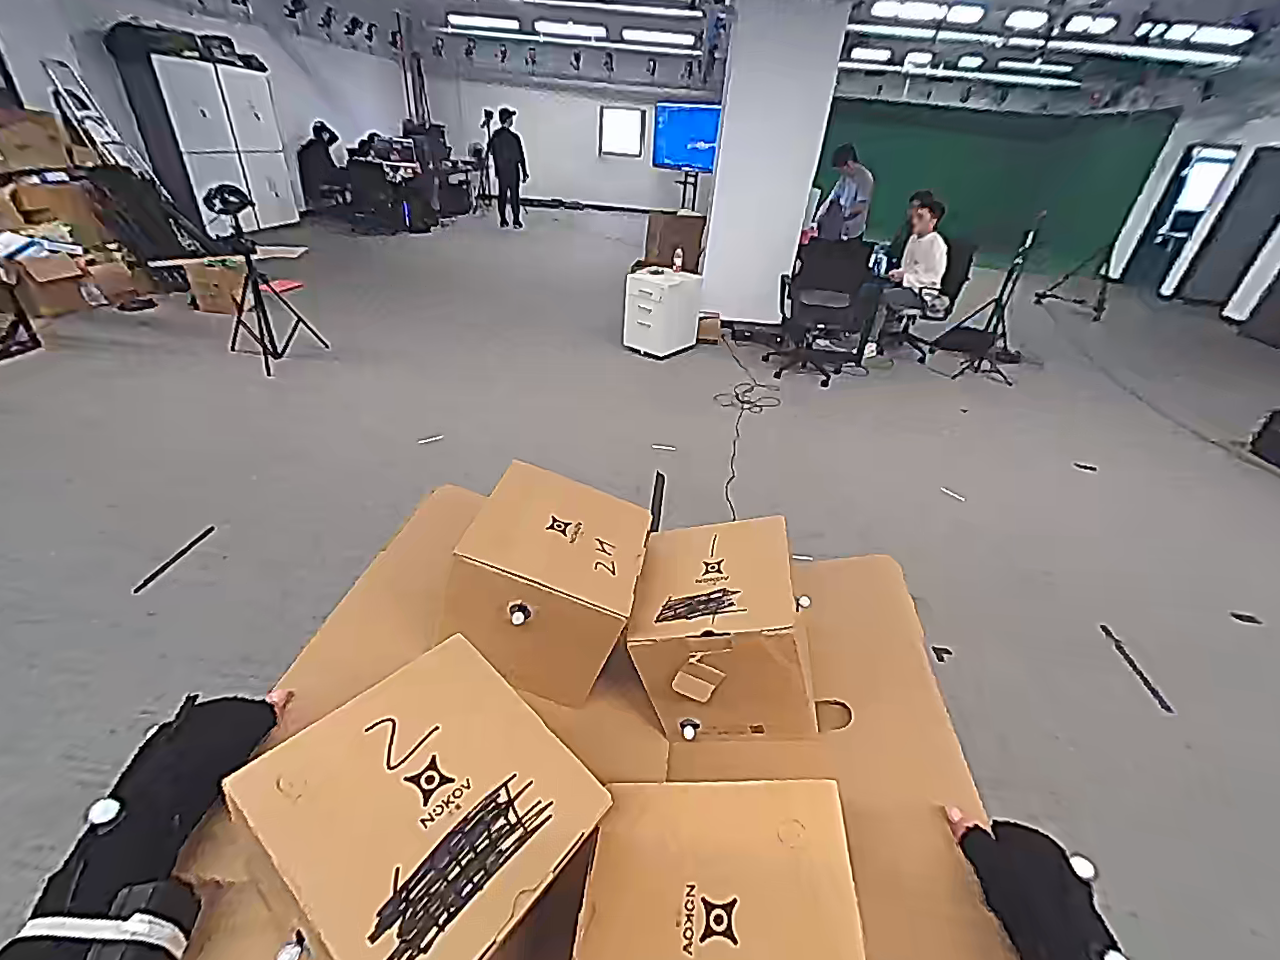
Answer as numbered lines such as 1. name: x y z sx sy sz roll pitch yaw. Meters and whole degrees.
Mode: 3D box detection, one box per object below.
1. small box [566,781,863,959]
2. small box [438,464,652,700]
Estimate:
1. small box: 0.063 0.334 0.374 0.179 0.176 0.168 -11 32 17
2. small box: -0.106 0.117 0.611 0.179 0.176 0.168 22 35 -3
